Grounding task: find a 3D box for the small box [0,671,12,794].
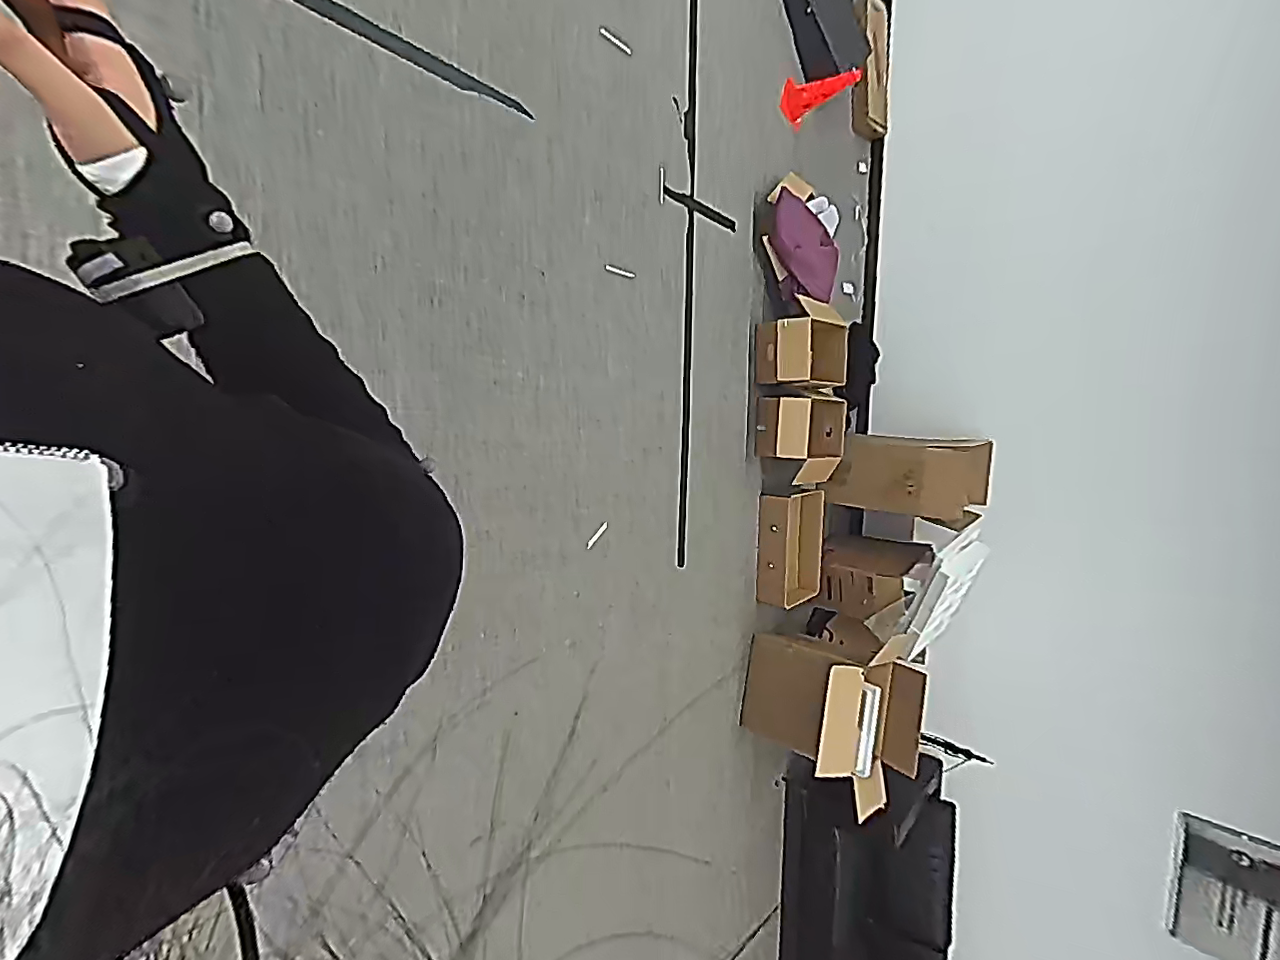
[{"bbox_3d":[-1.114,0.421,0.844,0.168,0.176,0.179,1,94,-47],"label":"small box"}]
